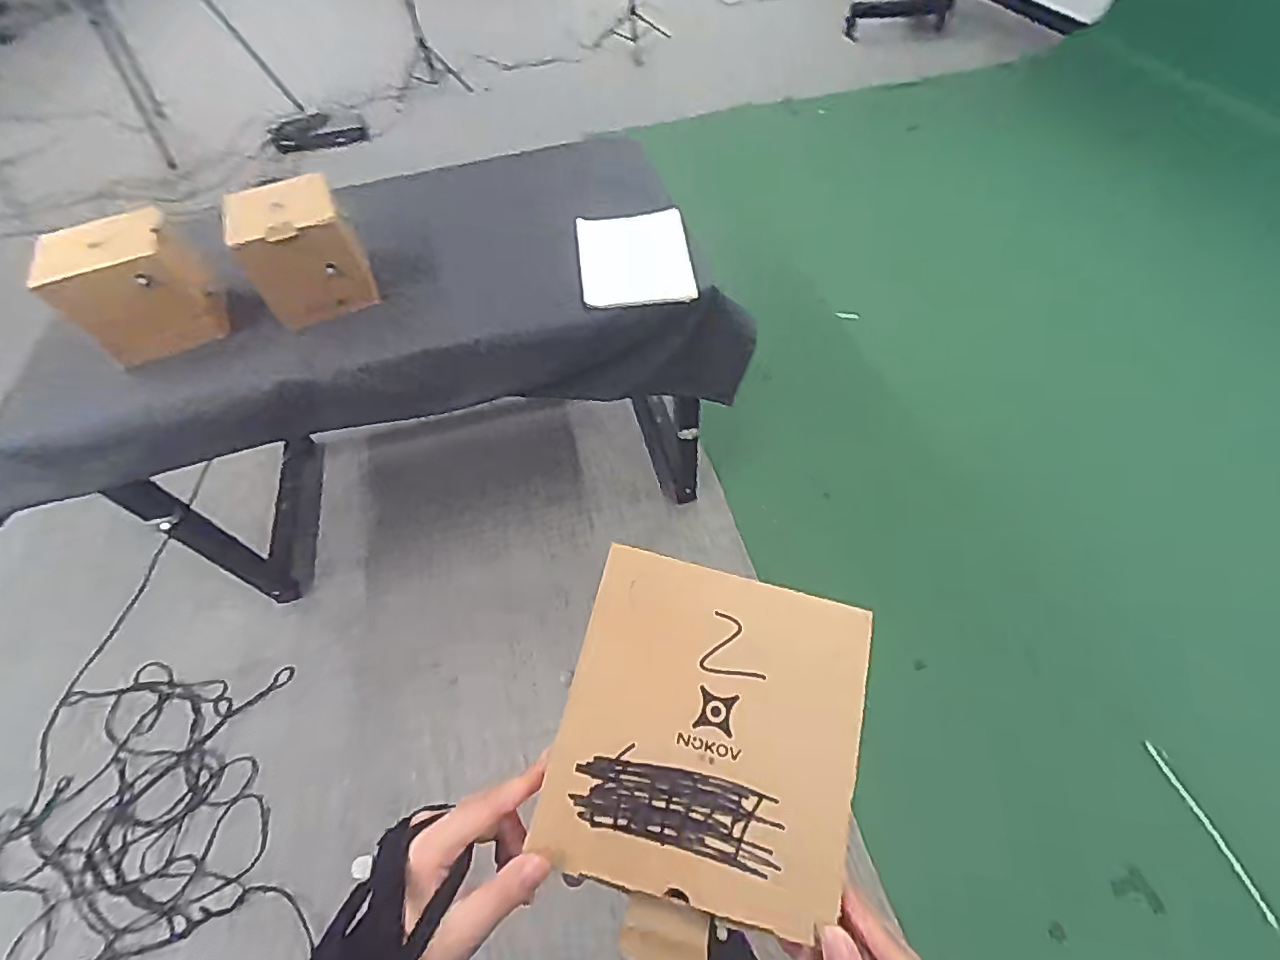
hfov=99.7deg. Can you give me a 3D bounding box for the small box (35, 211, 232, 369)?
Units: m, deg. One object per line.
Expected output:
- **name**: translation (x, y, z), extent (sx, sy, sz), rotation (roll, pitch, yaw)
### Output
- **small box**: translation (-0.841, -0.318, 0.919), extent (0.179, 0.176, 0.168), rotation (-24, 56, -13)

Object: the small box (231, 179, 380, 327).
- **small box**: translation (-0.583, -0.392, 0.955), extent (0.168, 0.176, 0.179), rotation (-22, 55, -13)
